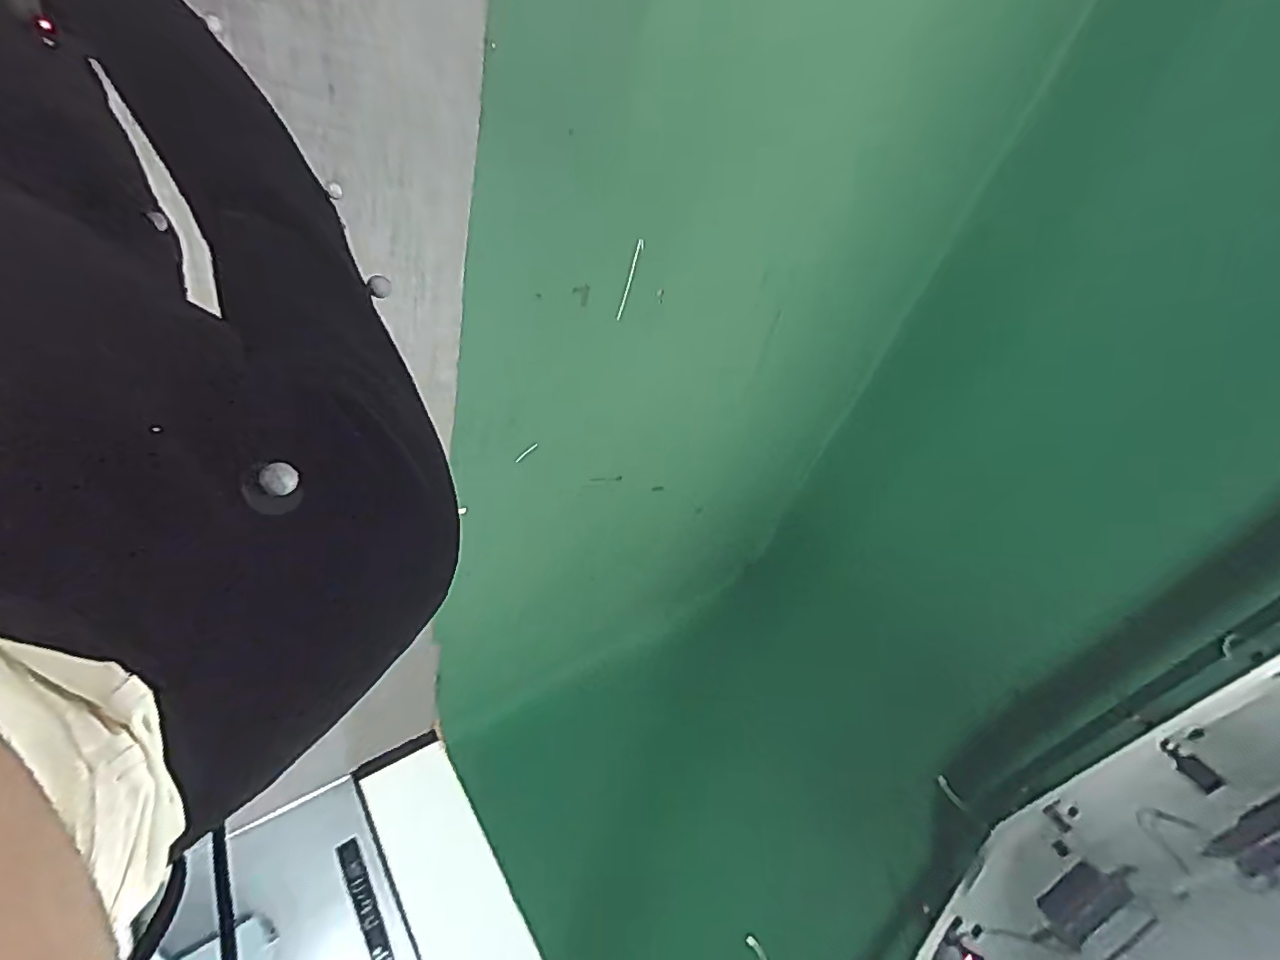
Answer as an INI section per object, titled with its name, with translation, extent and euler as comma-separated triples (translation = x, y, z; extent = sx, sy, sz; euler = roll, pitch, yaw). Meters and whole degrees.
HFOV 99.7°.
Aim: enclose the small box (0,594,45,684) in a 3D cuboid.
[small box]
translation = -1.710, 0.425, 1.417
extent = 0.179, 0.176, 0.168
euler = -12, 136, -39
